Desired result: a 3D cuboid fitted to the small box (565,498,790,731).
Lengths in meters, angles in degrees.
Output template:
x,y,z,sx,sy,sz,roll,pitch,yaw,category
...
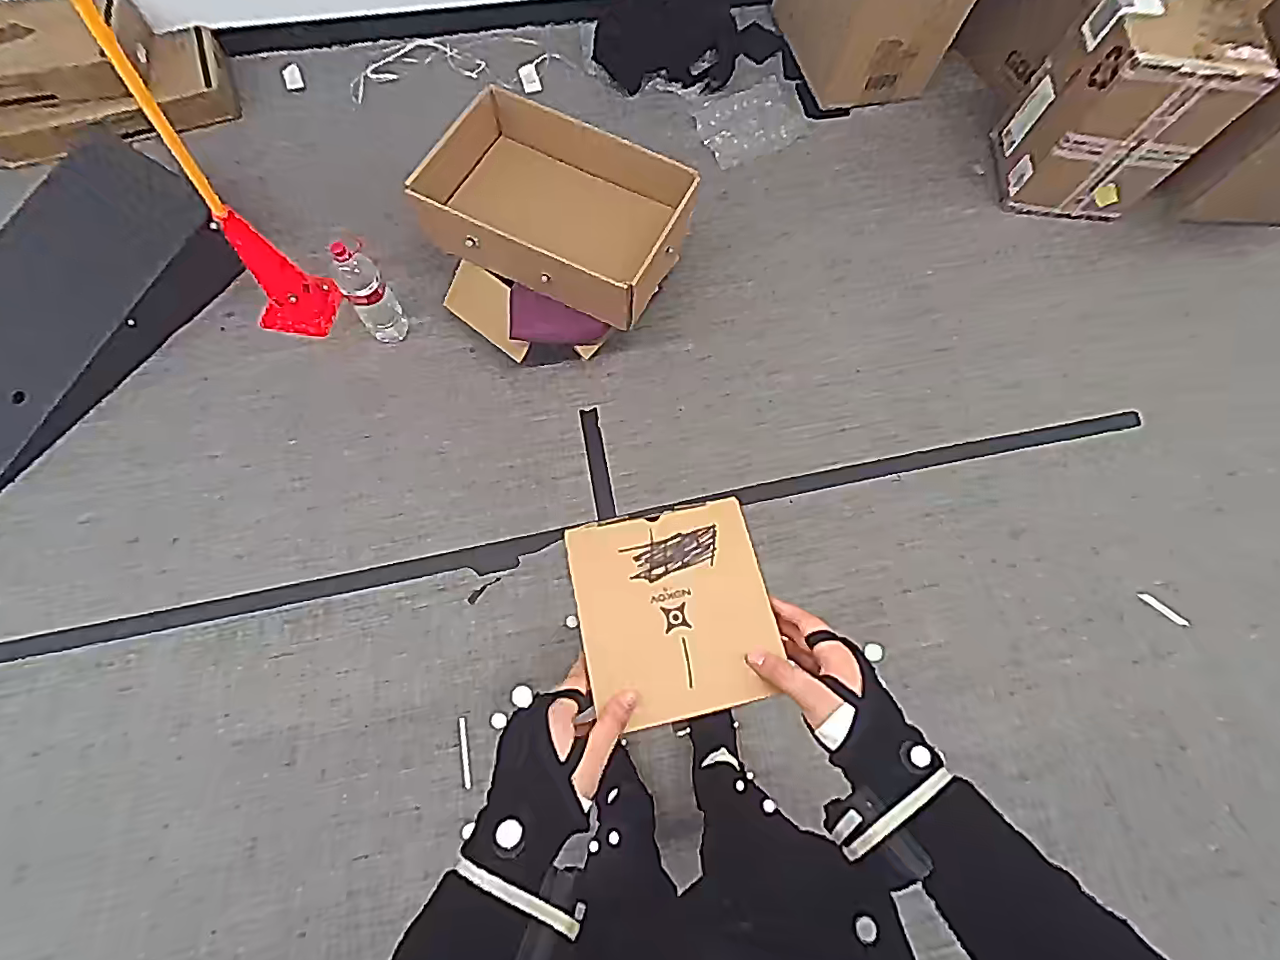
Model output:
x,y,z,sx,sy,sz,roll,pitch,yaw,category
0.023,0.140,0.540,0.168,0.176,0.179,-12,67,-7,small box
